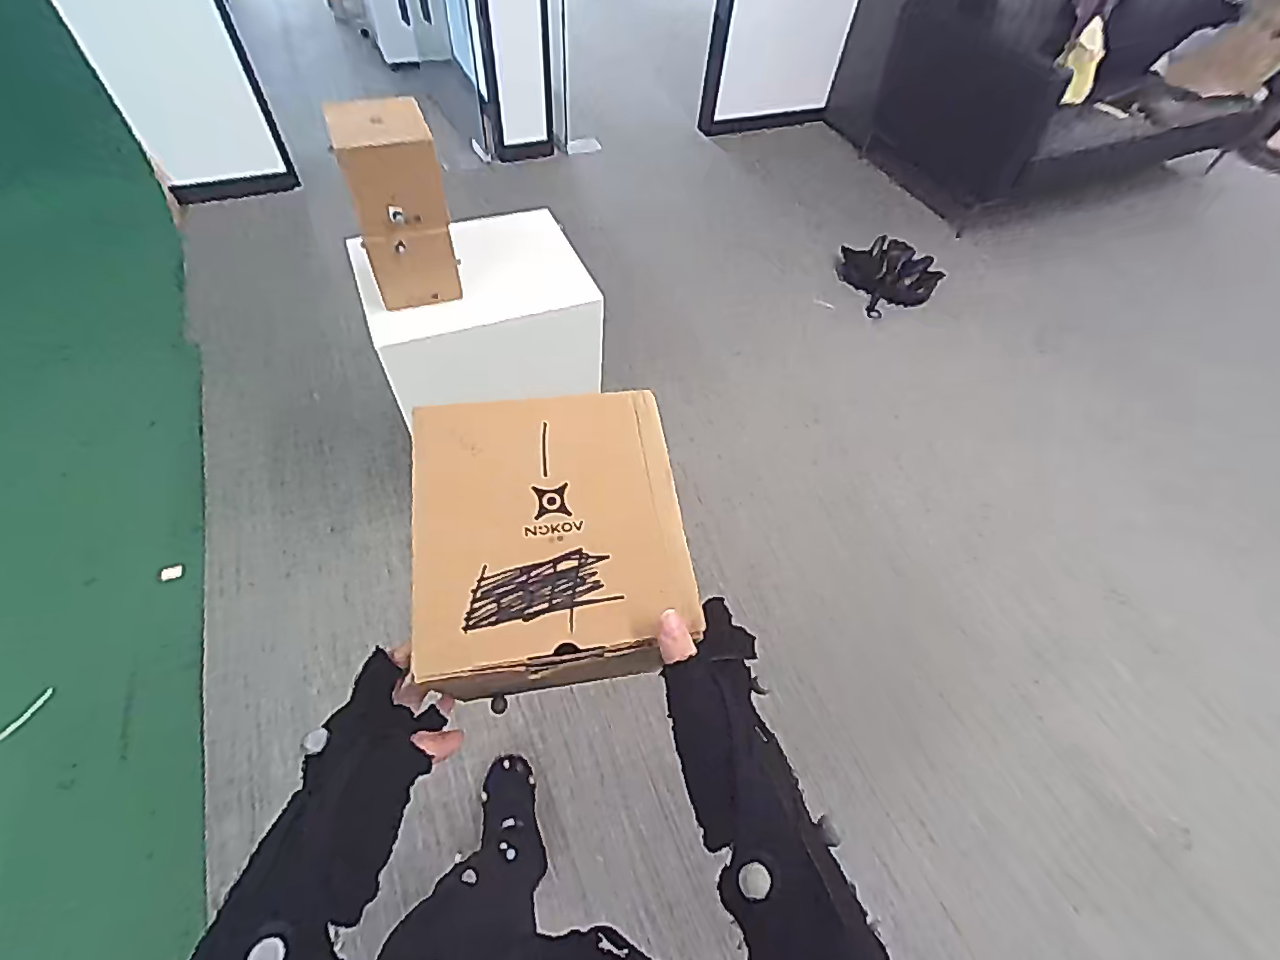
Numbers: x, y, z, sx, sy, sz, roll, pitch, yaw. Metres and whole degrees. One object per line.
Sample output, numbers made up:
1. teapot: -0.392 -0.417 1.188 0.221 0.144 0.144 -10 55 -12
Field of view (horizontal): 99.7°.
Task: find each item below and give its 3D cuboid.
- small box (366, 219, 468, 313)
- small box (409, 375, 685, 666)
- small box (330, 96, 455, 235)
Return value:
1. small box: -0.484 -0.493 1.178 0.168 0.176 0.179 -16 57 -16
2. small box: -0.071 0.042 0.422 0.168 0.176 0.179 -5 64 -10
3. small box: -0.469 -0.602 1.037 0.168 0.176 0.179 -18 60 -17
